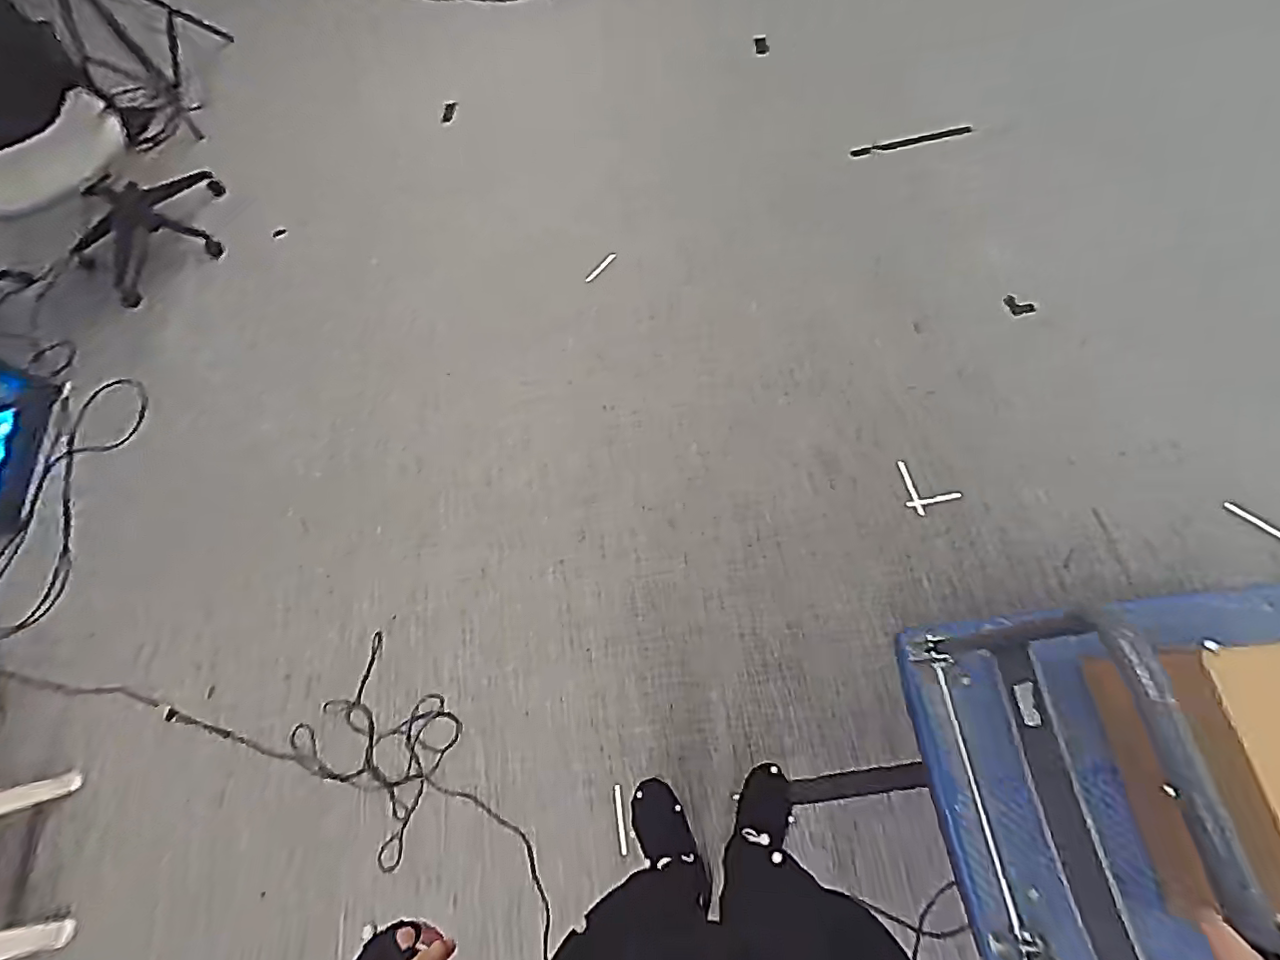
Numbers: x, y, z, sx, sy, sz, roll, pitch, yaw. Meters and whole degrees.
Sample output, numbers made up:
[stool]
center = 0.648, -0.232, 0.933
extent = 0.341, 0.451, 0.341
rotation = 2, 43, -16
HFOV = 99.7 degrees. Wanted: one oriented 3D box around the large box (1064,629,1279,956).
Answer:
[large box]
center = 0.989, 0.460, 0.854
extent = 0.320, 0.320, 0.408
rotation = -9, 66, 5
